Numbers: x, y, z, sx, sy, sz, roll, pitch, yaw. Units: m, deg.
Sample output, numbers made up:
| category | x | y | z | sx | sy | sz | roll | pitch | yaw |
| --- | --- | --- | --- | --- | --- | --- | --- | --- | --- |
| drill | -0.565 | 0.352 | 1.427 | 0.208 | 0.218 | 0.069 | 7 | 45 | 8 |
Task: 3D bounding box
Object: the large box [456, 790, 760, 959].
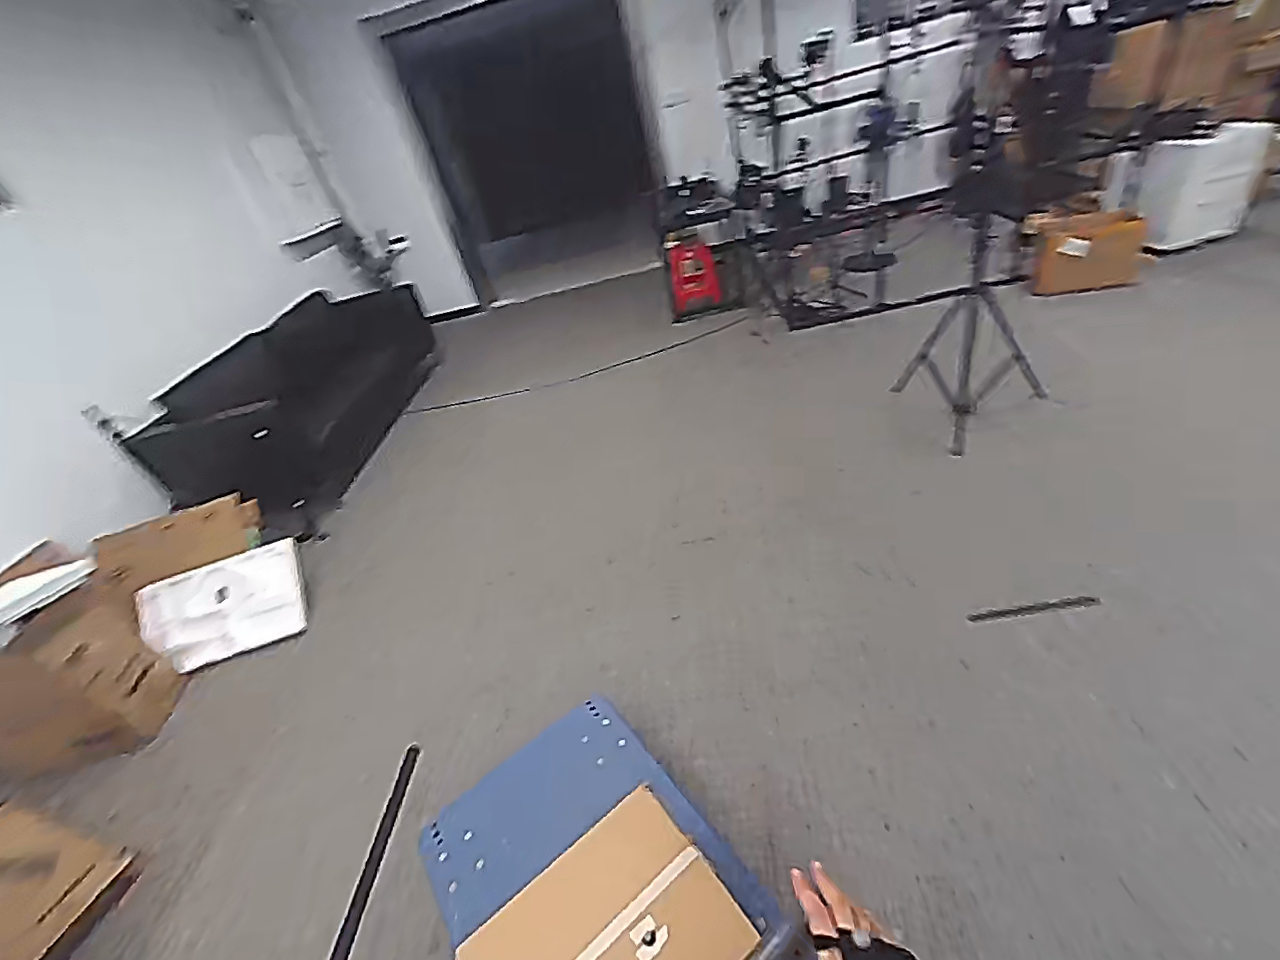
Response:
| category | x | y | z | sx | sy | sz | roll | pitch | yaw |
| --- | --- | --- | --- | --- | --- | --- | --- | --- | --- |
| large box | -0.033 | 0.864 | 0.932 | 0.408 | 0.320 | 0.320 | -32 | 38 | -23 |
